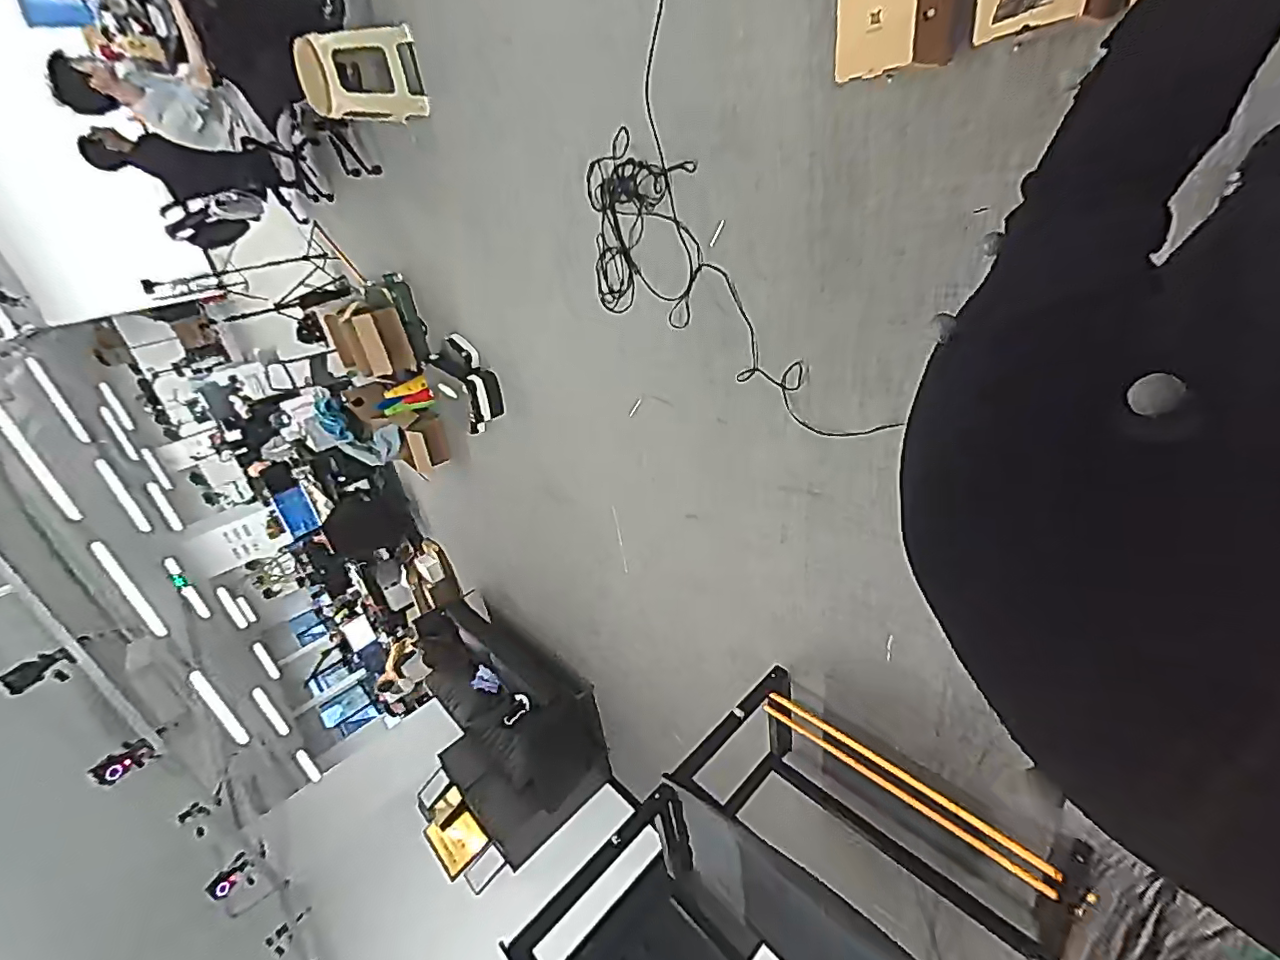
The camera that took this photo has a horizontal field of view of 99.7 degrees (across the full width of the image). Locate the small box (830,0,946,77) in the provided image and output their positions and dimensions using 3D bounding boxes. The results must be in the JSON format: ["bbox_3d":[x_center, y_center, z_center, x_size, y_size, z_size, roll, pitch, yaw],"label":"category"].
[{"bbox_3d":[0.517,-0.962,1.125,0.168,0.176,0.179,22,131,44],"label":"small box"}]

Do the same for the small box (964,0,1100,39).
[{"bbox_3d":[0.695,-0.896,0.939,0.168,0.176,0.179,21,129,44],"label":"small box"}]
